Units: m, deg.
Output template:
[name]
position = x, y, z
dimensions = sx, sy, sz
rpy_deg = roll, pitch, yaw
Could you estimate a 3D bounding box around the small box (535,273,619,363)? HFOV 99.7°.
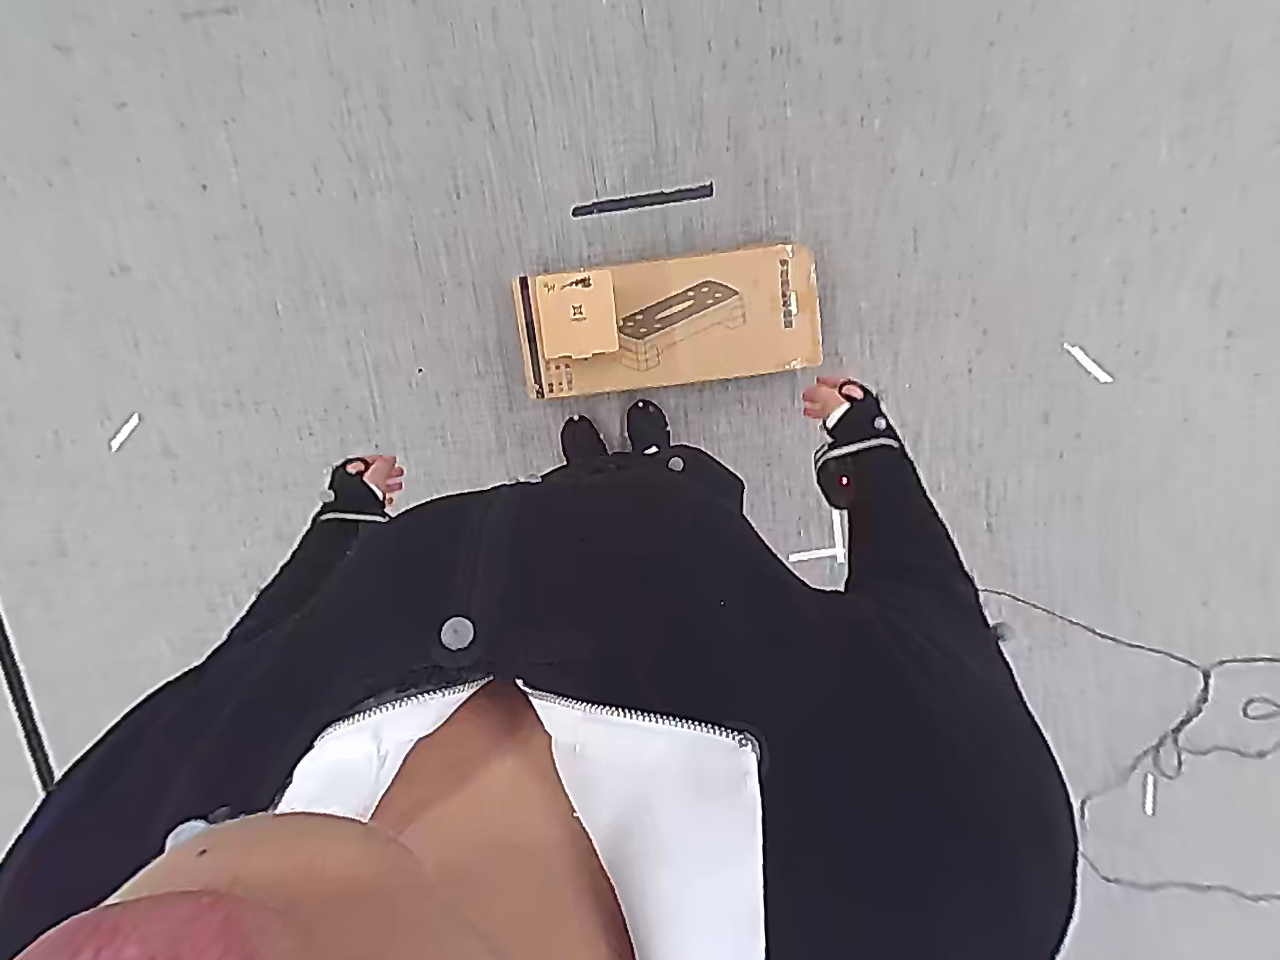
[small box]
position = -0.138, -0.365, 1.246
dimensions = 0.168, 0.176, 0.179
rpy_deg = -5, 99, 0
